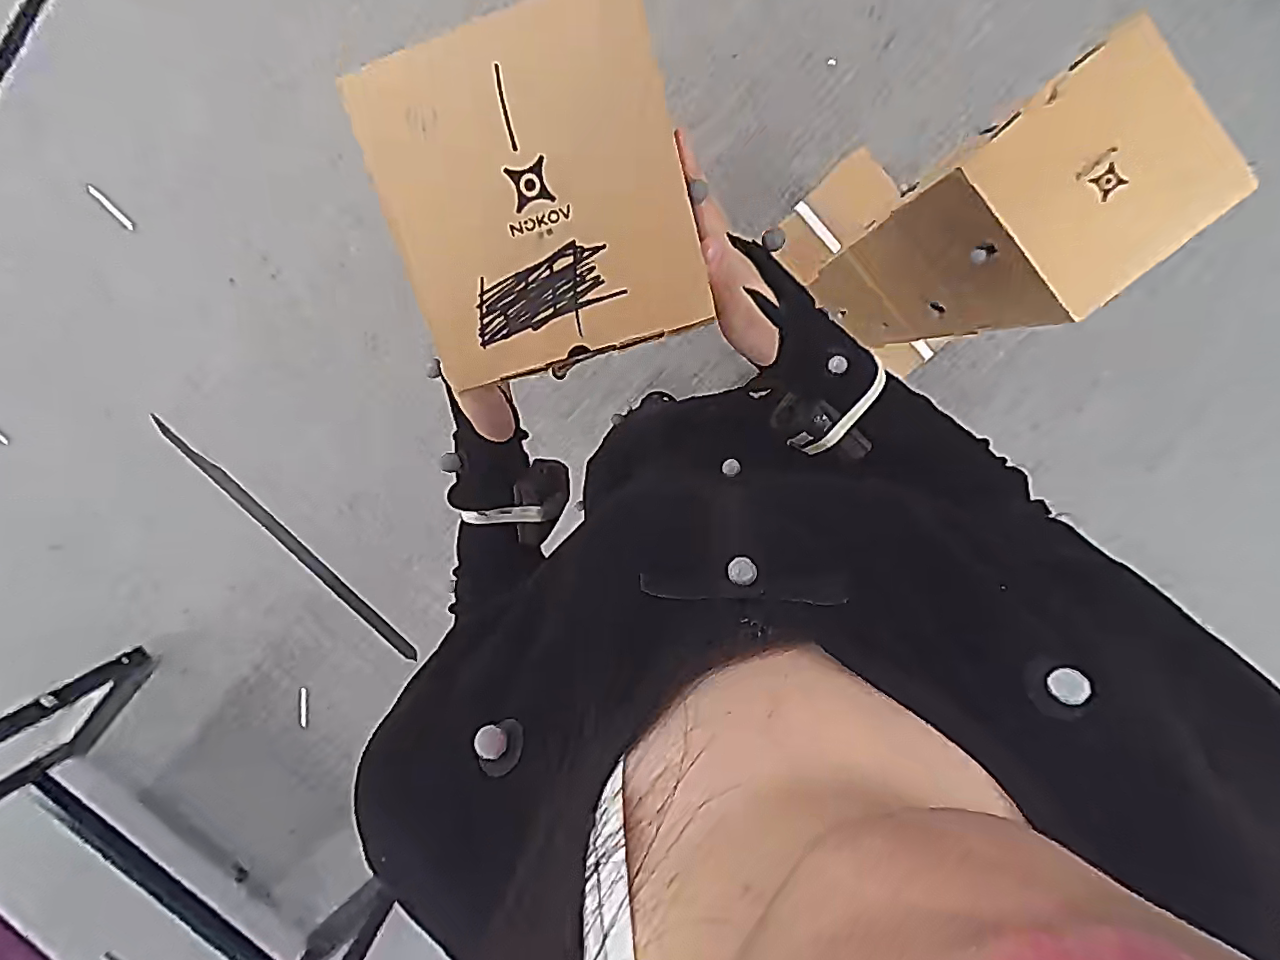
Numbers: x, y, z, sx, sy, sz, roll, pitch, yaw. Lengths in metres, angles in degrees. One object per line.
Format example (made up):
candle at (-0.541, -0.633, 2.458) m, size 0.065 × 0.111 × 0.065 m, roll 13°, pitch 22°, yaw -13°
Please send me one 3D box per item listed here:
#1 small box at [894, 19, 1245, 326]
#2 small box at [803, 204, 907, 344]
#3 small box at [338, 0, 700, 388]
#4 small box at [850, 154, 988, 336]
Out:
small box at (0.391, -0.271, 0.531) m, size 0.168 × 0.176 × 0.179 m, roll -40°, pitch 96°, yaw 12°
small box at (0.432, -0.368, 1.010) m, size 0.179 × 0.176 × 0.168 m, roll 44°, pitch 103°, yaw -6°
small box at (-0.055, -0.177, 0.374) m, size 0.168 × 0.176 × 0.179 m, roll -14°, pitch 104°, yaw 9°
small box at (0.404, -0.304, 0.689) m, size 0.168 × 0.176 × 0.179 m, roll -40°, pitch 96°, yaw 11°
